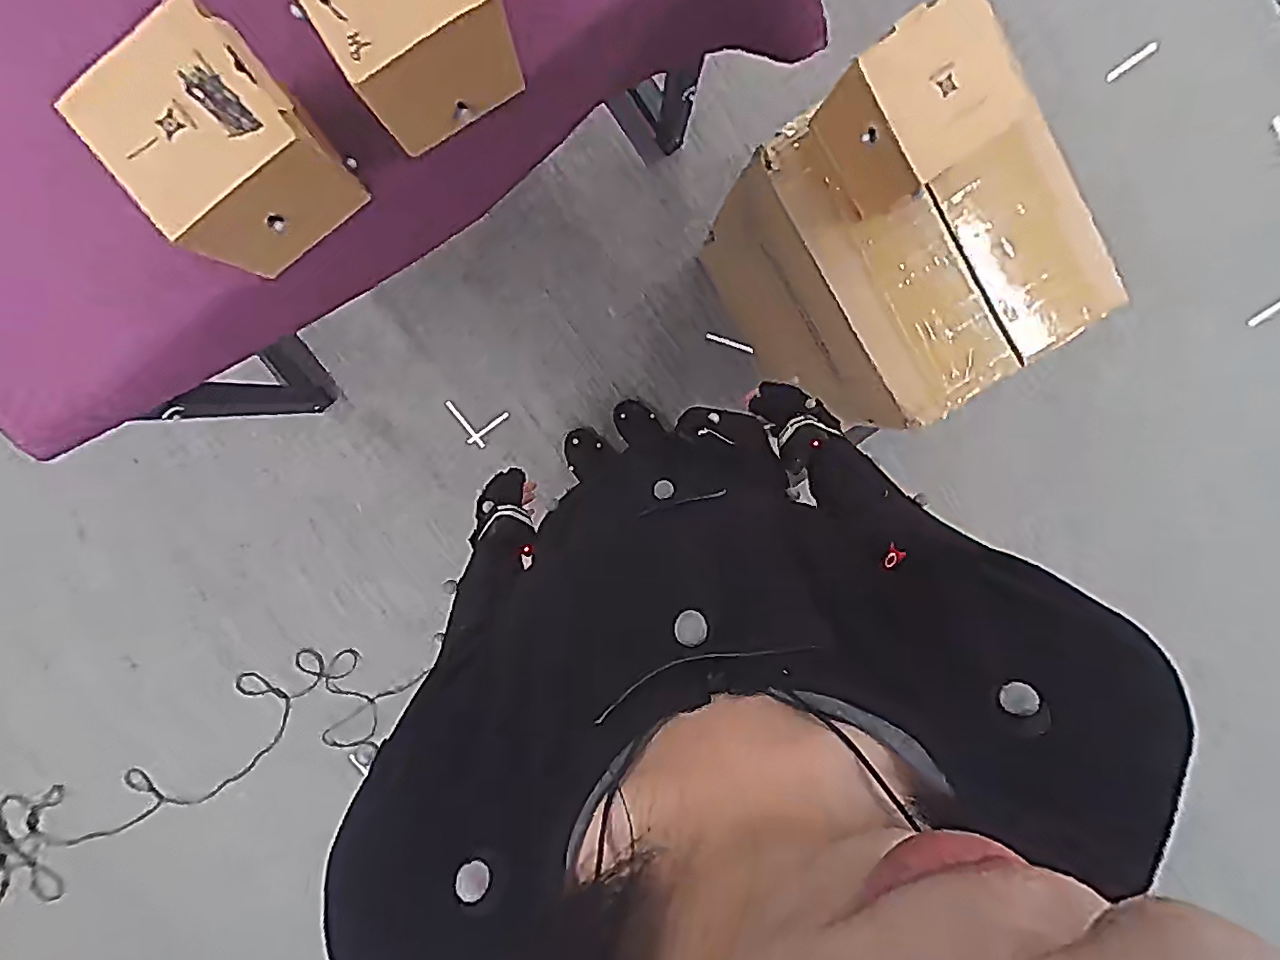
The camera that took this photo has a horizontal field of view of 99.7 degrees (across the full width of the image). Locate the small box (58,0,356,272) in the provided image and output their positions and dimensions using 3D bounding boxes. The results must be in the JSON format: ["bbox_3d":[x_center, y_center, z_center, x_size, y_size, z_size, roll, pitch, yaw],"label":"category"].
[{"bbox_3d":[-0.461,-0.371,0.617,0.179,0.176,0.168,-37,97,4],"label":"small box"}]

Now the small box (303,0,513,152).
[{"bbox_3d":[-0.260,-0.520,0.608,0.179,0.176,0.168,-31,98,1],"label":"small box"}]

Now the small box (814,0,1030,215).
[{"bbox_3d":[0.371,-0.506,0.745,0.168,0.176,0.179,-34,100,5],"label":"small box"}]
